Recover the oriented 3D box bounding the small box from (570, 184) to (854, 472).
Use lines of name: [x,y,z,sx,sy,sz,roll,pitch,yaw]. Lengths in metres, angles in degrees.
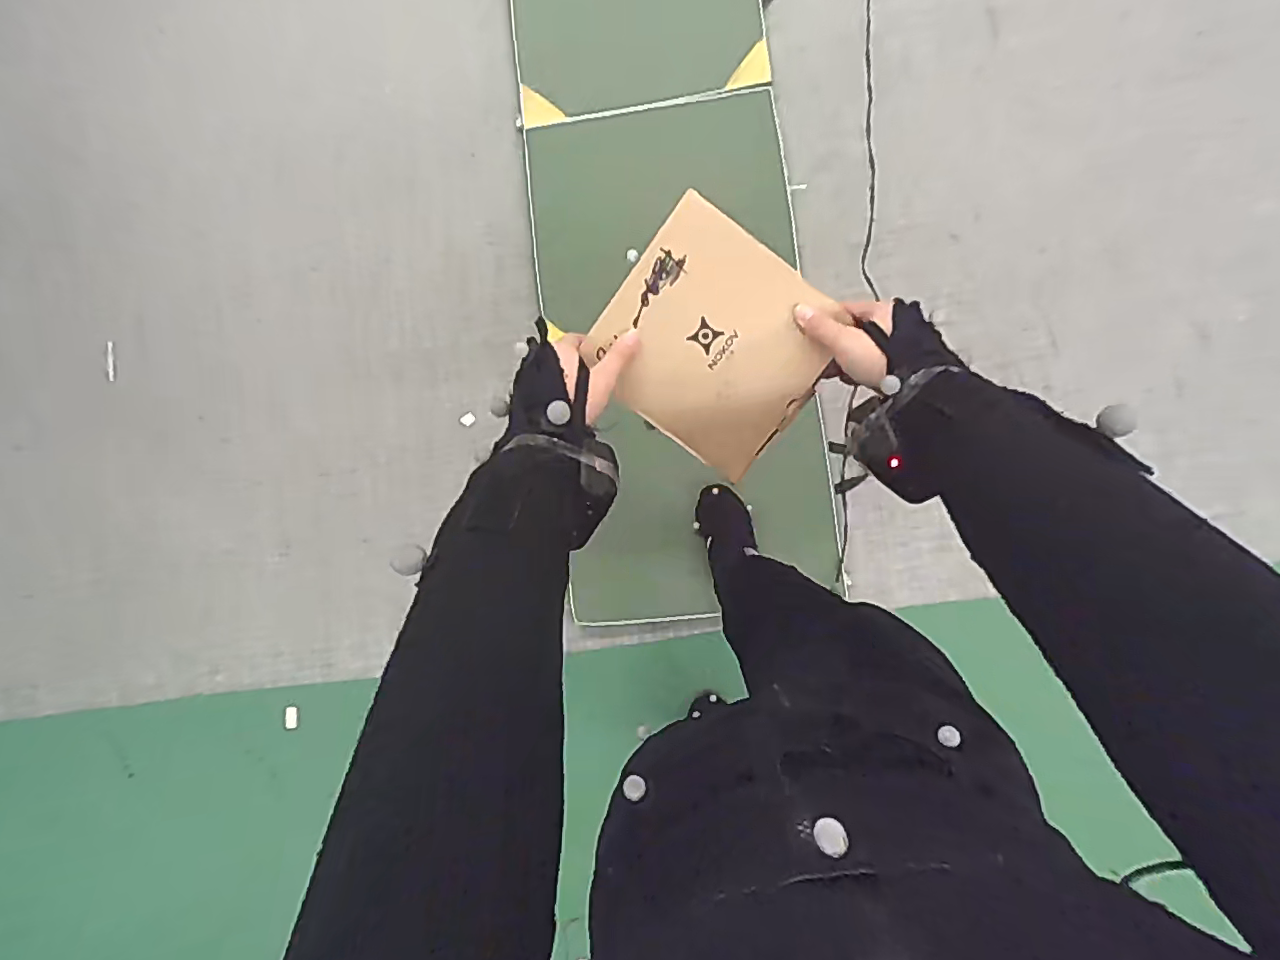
small box: [0.061,-0.135,0.518,0.179,0.176,0.168,37,100,-5]
